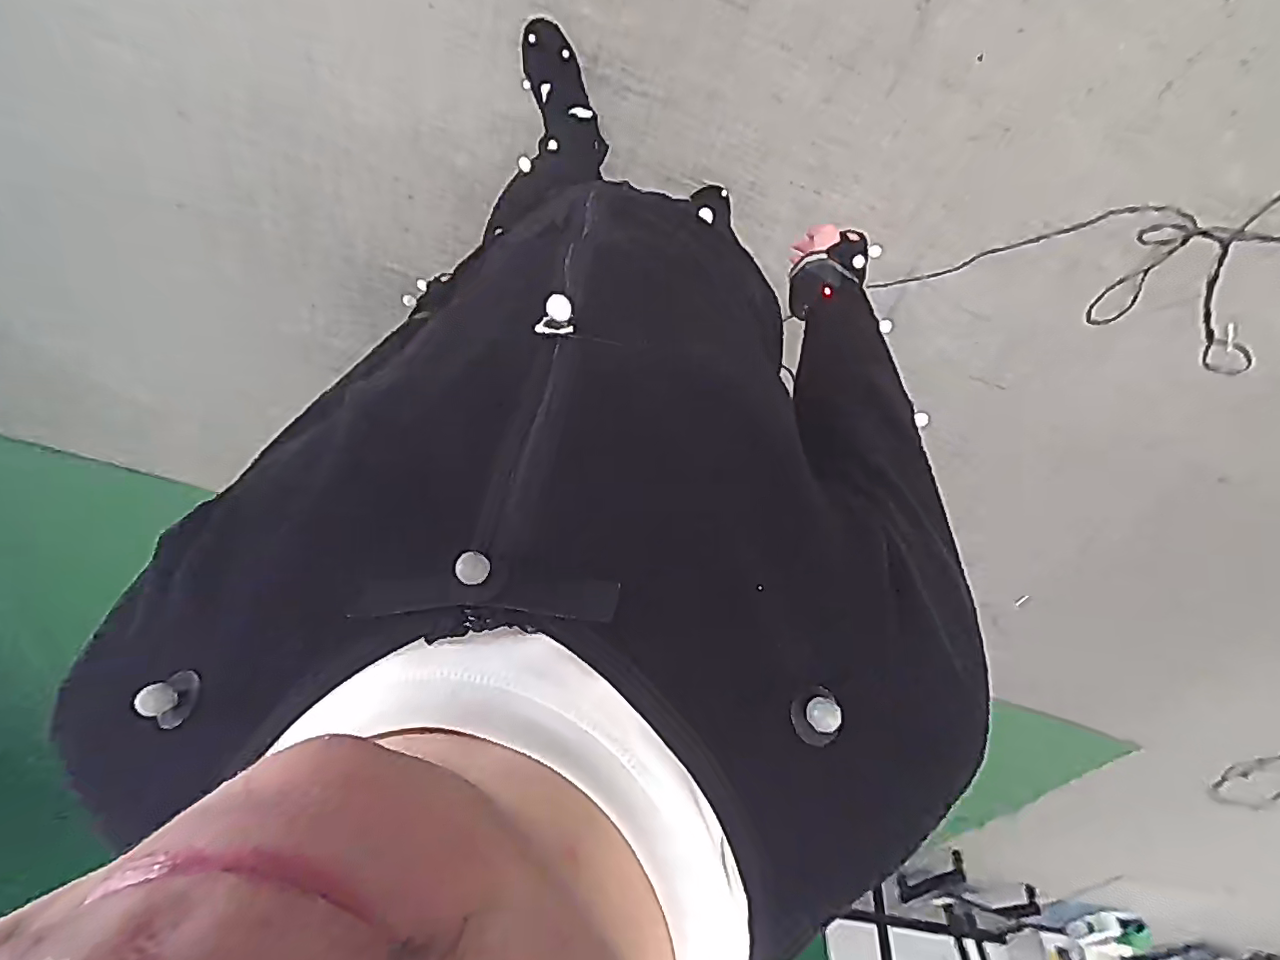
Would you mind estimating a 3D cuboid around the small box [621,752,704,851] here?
[{"bbox_3d":[0.059,0.865,1.460,0.168,0.176,0.179,20,127,-11],"label":"small box"}]
